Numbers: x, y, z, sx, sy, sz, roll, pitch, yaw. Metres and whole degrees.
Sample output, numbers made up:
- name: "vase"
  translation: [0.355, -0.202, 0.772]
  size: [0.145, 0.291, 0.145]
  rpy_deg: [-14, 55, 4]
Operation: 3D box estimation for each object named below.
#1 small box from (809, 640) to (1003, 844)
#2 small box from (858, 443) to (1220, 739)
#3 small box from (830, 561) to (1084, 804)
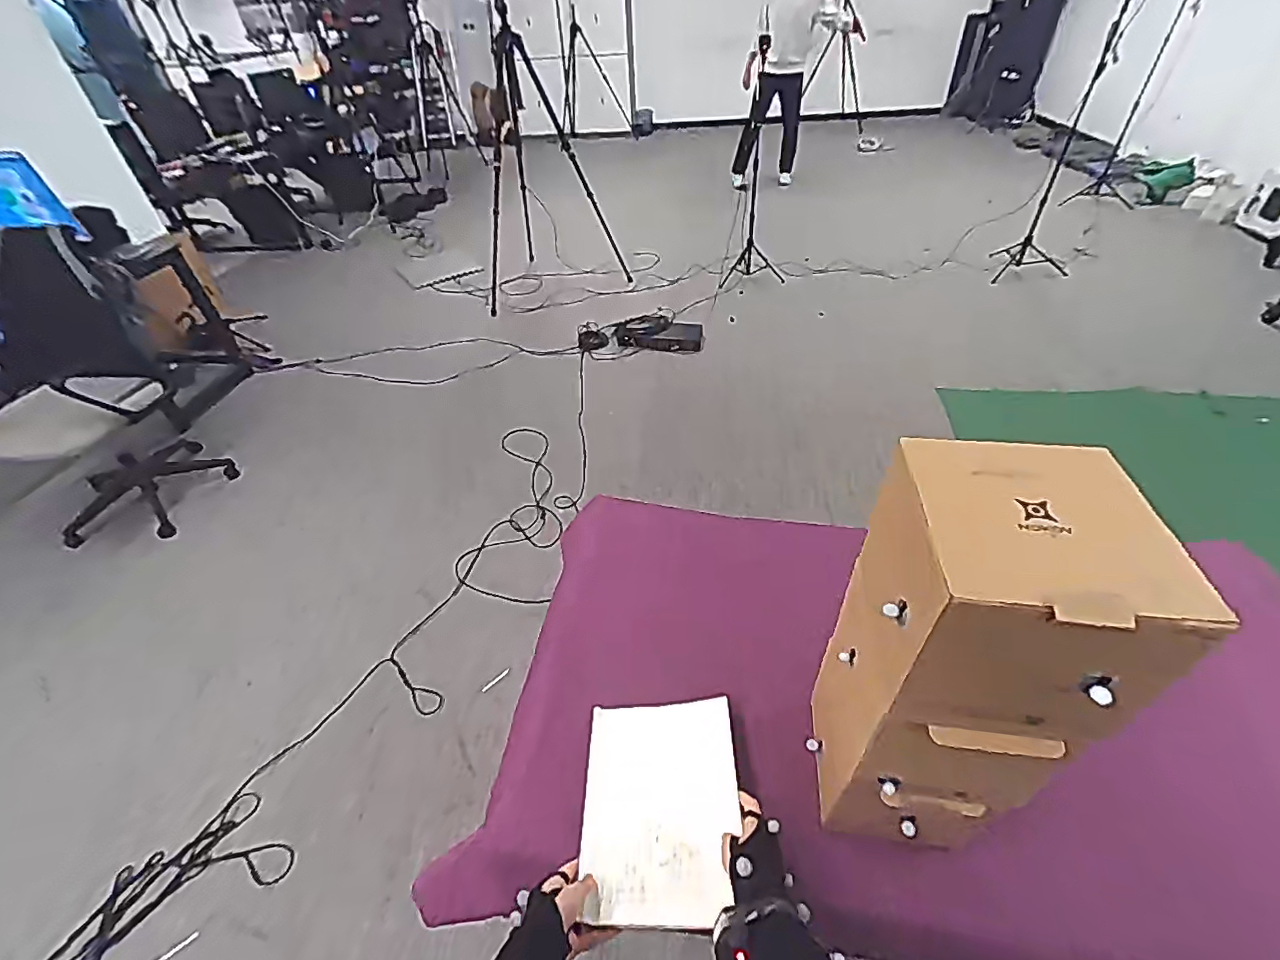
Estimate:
- name: "small box"
  translation: [0.313, 0.329, 0.679]
  size: [0.168, 0.176, 0.179]
  rpy_deg: [4, 43, 8]
- name: "small box"
  translation: [0.293, 0.090, 0.454]
  size: [0.168, 0.176, 0.179]
  rpy_deg: [5, 41, 9]
- name: "small box"
  translation: [0.303, 0.210, 0.565]
  size: [0.168, 0.176, 0.179]
  rpy_deg: [4, 41, 9]
